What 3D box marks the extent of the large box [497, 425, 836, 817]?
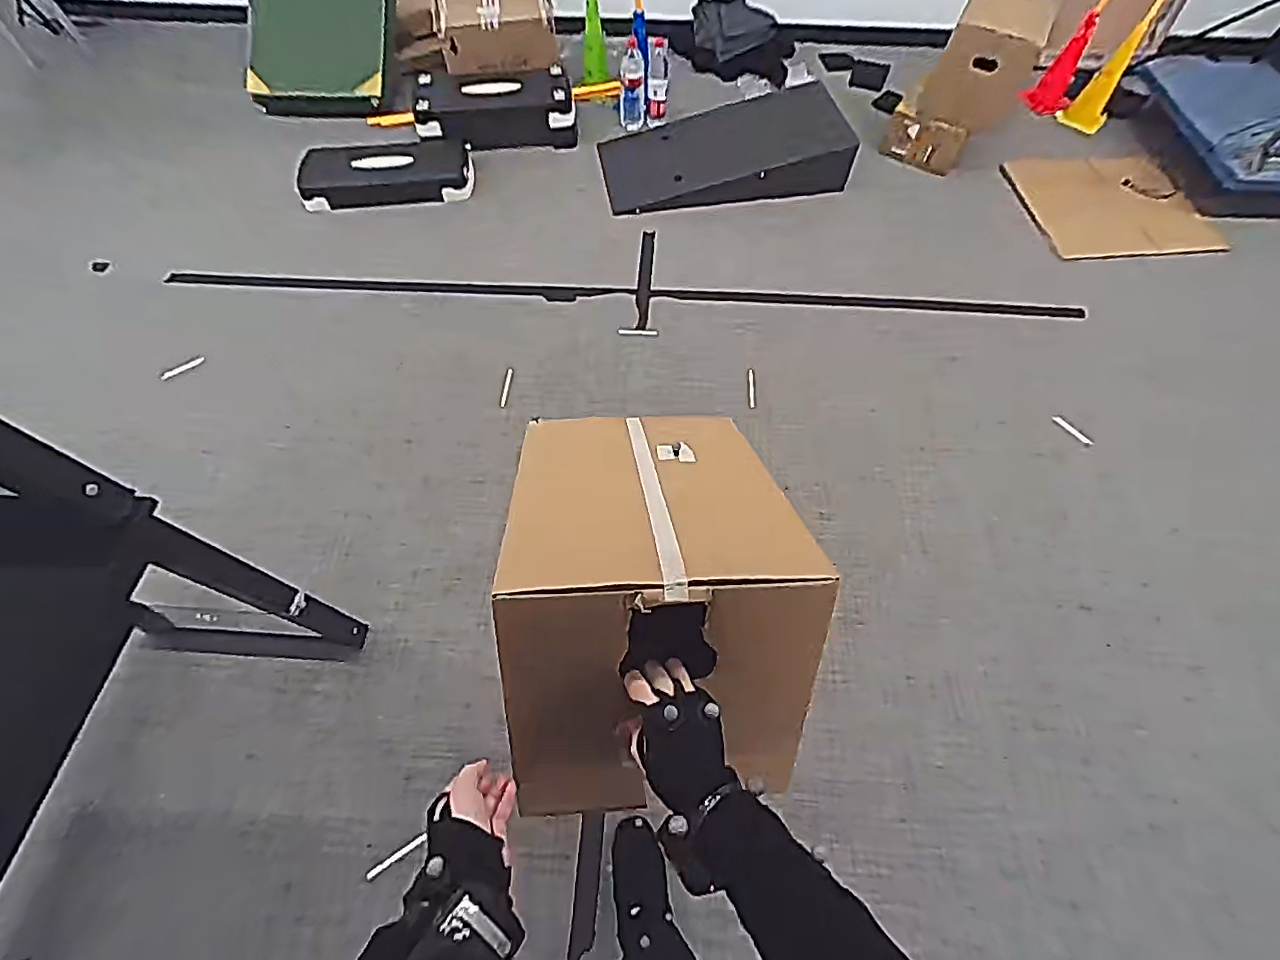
[{"bbox_3d":[0.005,0.144,0.711,0.320,0.320,0.408,-1,26,-6],"label":"large box"}]
